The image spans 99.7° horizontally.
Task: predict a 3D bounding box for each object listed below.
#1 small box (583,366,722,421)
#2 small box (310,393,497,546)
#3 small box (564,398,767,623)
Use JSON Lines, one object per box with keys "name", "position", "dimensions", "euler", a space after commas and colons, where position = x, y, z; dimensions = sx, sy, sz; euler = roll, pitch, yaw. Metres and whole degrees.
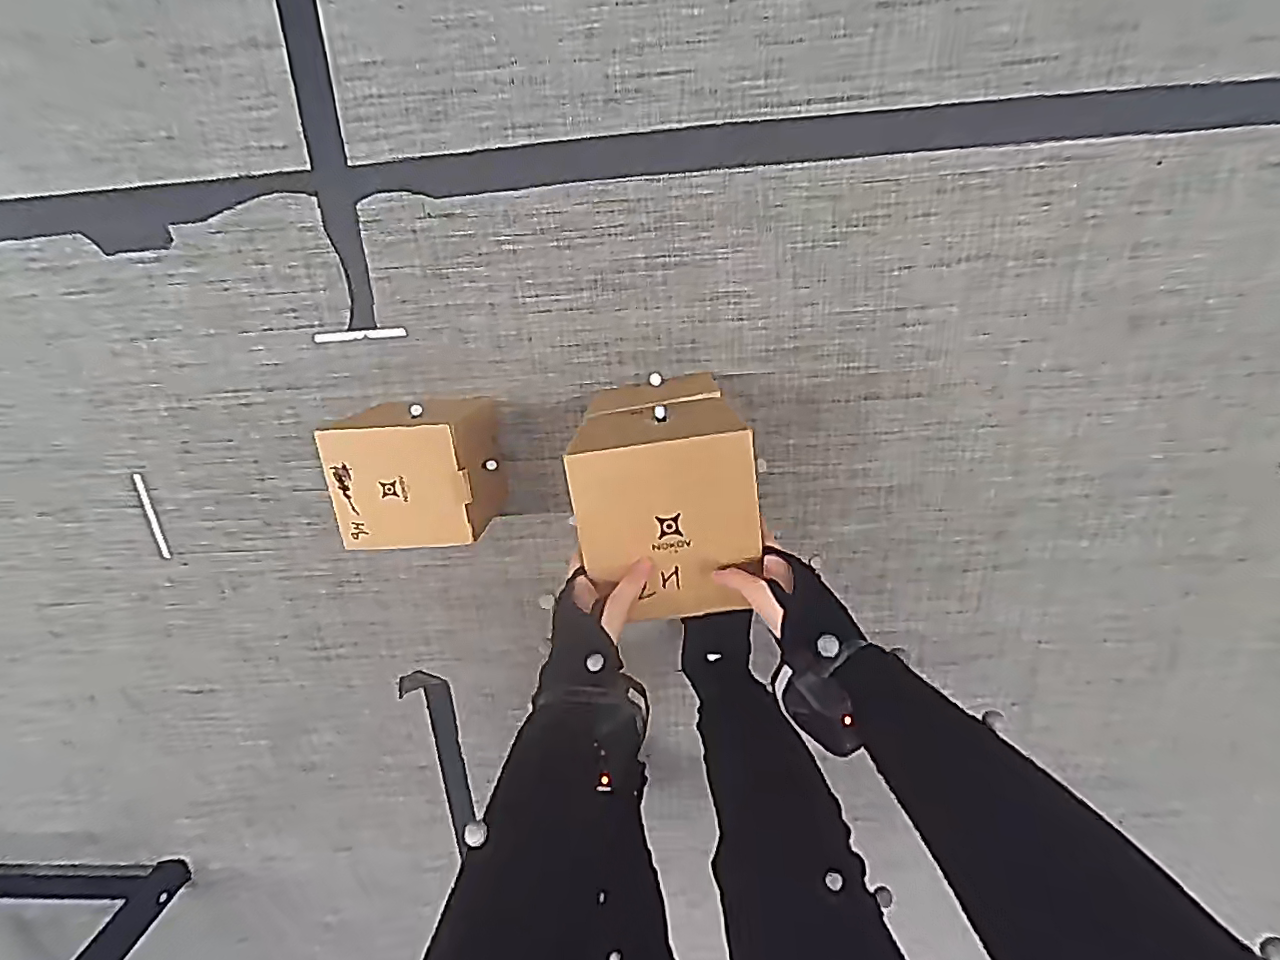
{"name": "small box", "position": [0.029, -0.044, 0.729], "dimensions": [0.168, 0.176, 0.179], "euler": [-9, 109, 5]}
{"name": "small box", "position": [-0.305, -0.022, 0.747], "dimensions": [0.179, 0.176, 0.168], "euler": [-3, 110, 2]}
{"name": "small box", "position": [0.027, 0.018, 0.549], "dimensions": [0.168, 0.176, 0.179], "euler": [-7, 109, 4]}
